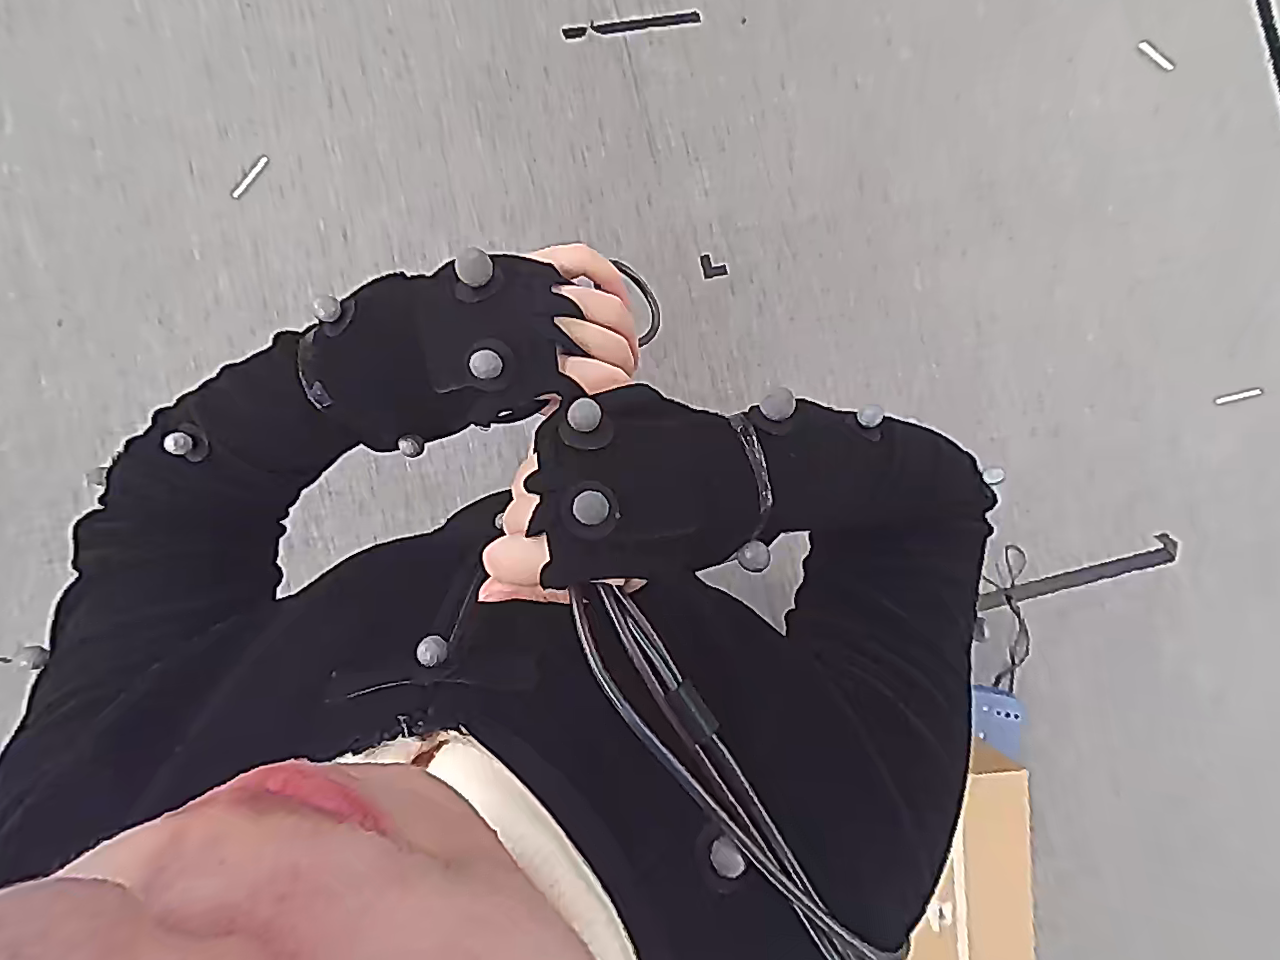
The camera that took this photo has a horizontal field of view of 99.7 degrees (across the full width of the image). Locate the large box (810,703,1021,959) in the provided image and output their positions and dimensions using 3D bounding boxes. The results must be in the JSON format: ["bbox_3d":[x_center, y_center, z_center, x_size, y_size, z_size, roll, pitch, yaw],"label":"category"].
[{"bbox_3d":[0.595,0.768,1.220,0.320,0.320,0.408,-1,90,-4],"label":"large box"}]
